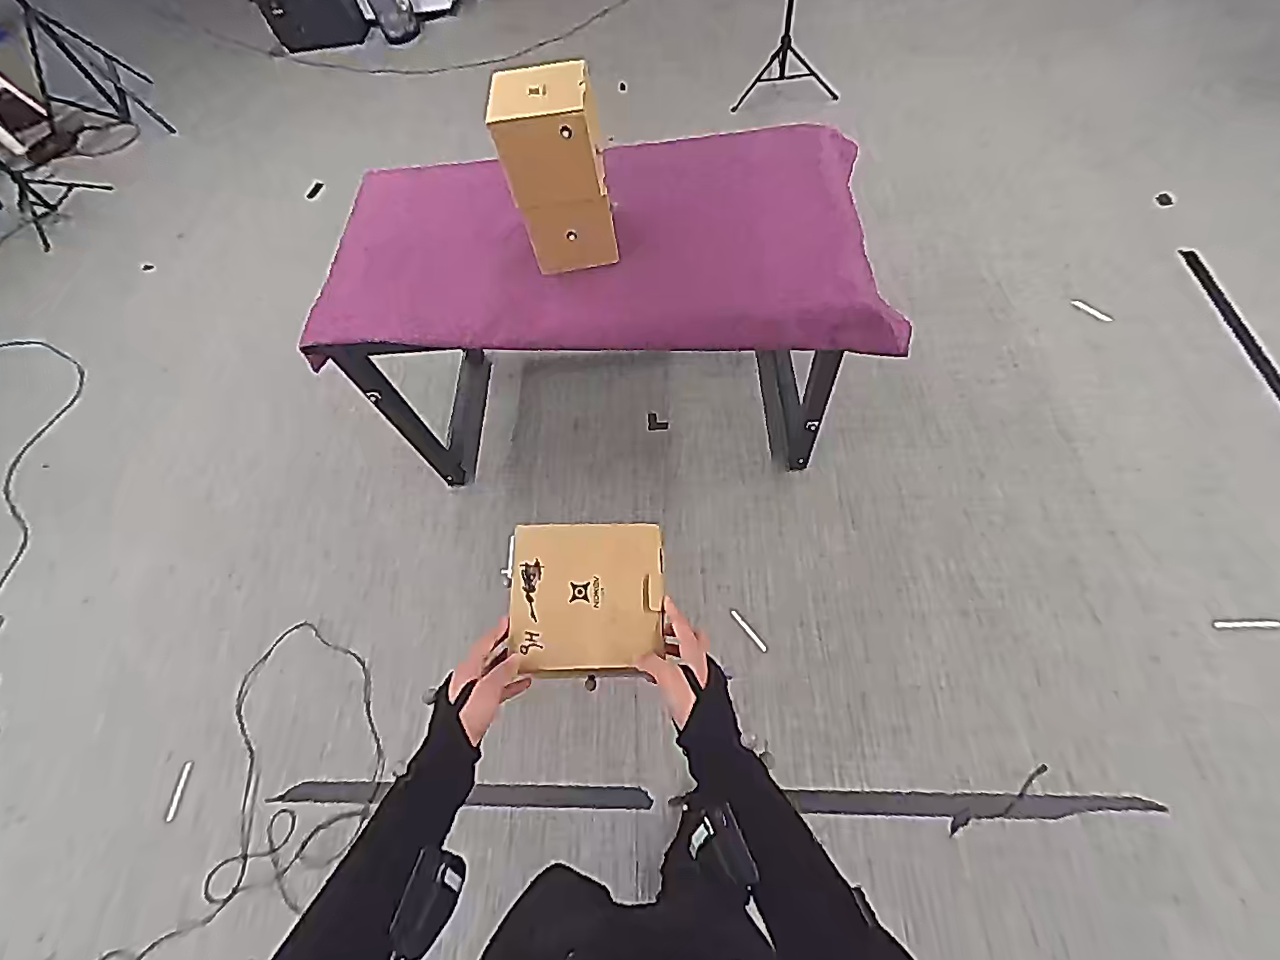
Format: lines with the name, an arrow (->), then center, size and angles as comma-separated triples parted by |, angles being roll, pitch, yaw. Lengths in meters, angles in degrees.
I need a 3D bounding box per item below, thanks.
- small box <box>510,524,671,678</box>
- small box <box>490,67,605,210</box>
small box -> -0.059, 0.160, 0.690 | 0.179, 0.176, 0.168 | 1, 67, -3
small box -> -0.167, -0.642, 1.031 | 0.179, 0.176, 0.168 | -5, 62, 4
